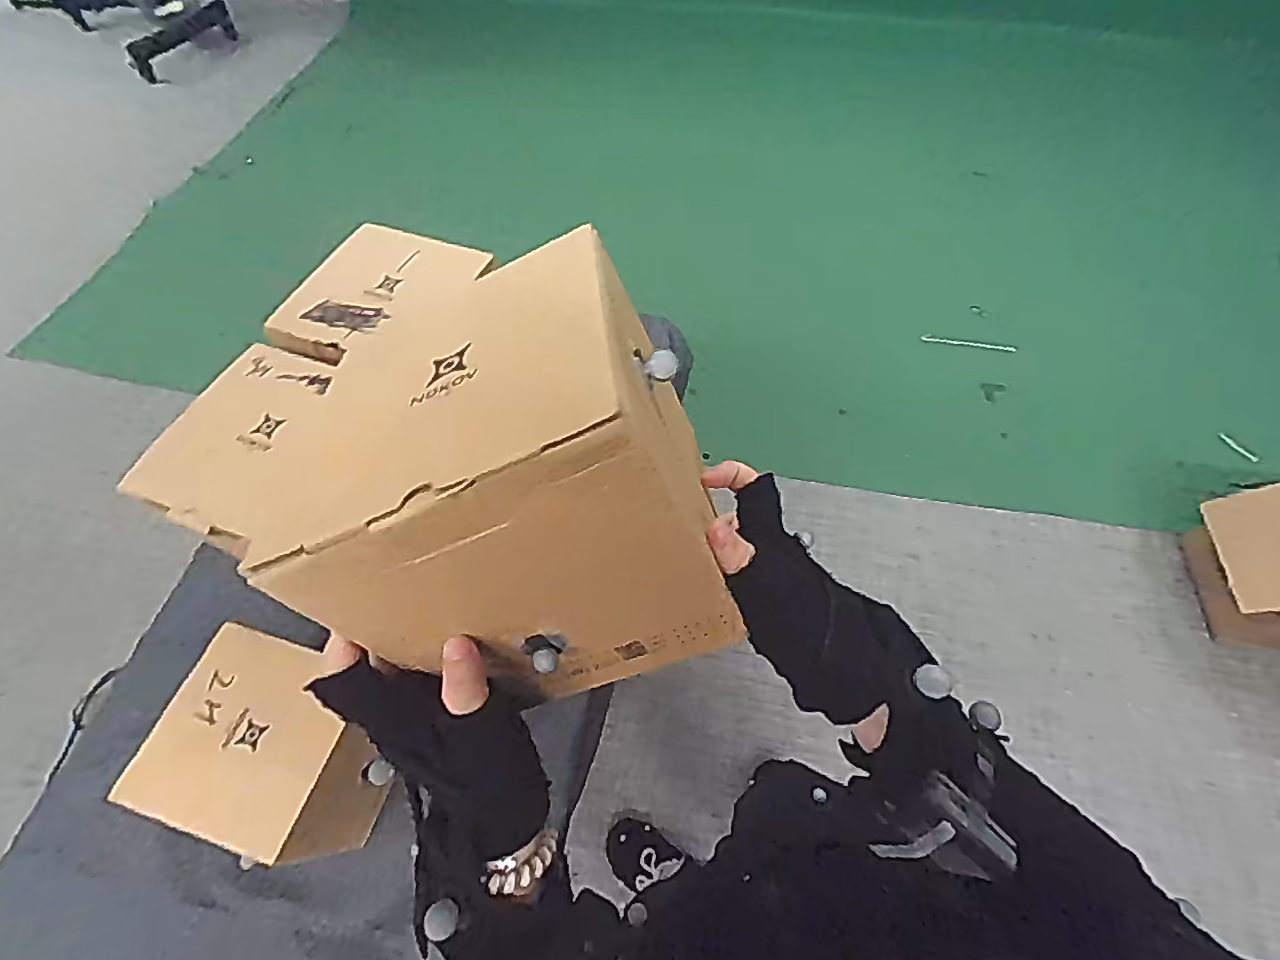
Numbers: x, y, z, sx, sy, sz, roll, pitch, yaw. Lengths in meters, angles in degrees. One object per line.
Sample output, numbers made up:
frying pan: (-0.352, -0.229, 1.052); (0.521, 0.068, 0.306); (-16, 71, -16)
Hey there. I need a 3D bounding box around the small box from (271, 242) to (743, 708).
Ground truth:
small box: (-0.054, 0.003, 0.314); (0.168, 0.176, 0.179); (-21, 45, 10)
